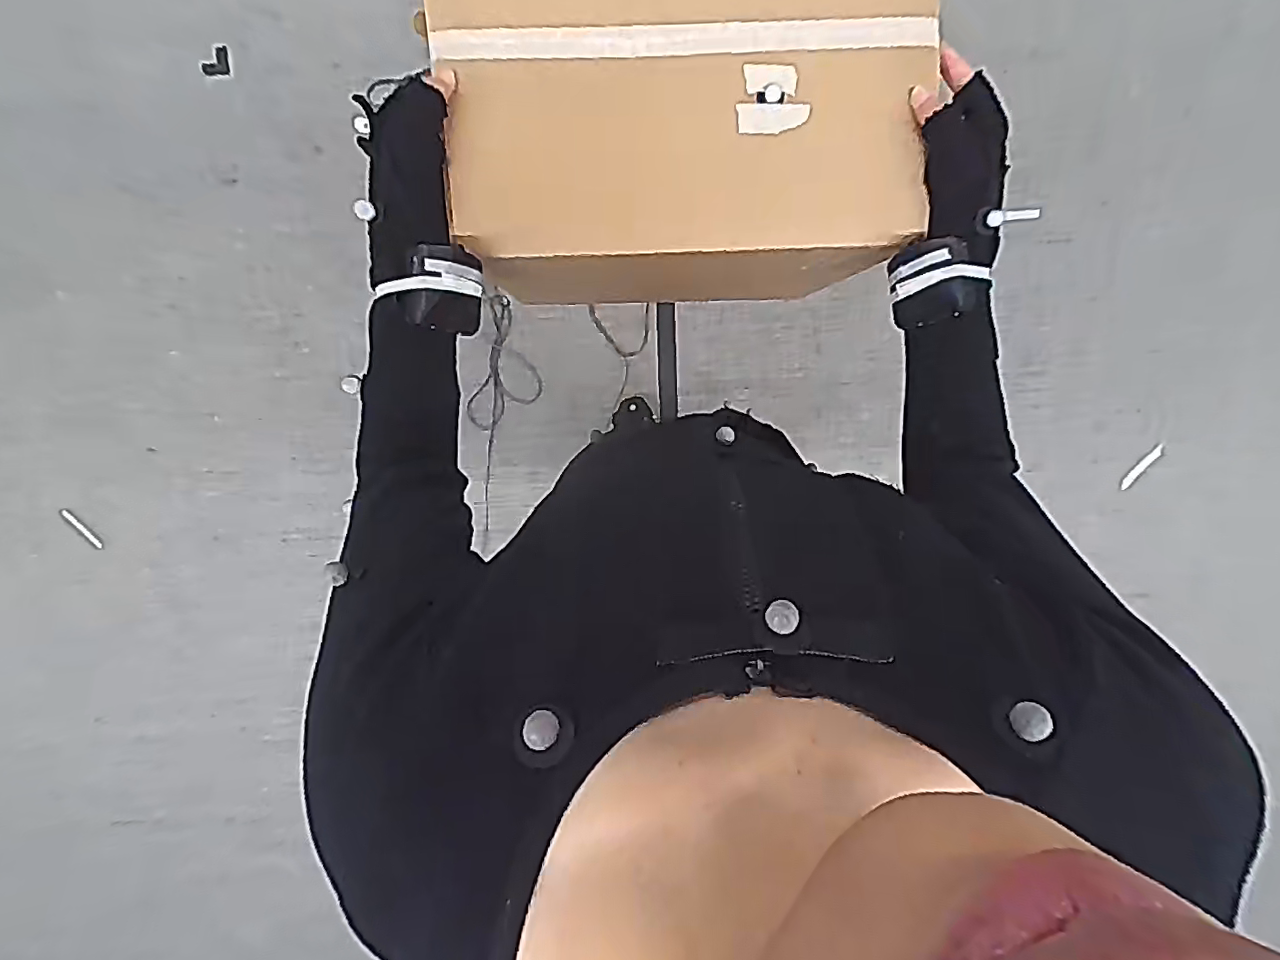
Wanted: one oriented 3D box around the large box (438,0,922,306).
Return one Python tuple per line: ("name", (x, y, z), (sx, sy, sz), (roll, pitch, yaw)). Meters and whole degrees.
("large box", (0.030, -0.381, 0.595), (0.408, 0.320, 0.320), (-3, 101, -2))
